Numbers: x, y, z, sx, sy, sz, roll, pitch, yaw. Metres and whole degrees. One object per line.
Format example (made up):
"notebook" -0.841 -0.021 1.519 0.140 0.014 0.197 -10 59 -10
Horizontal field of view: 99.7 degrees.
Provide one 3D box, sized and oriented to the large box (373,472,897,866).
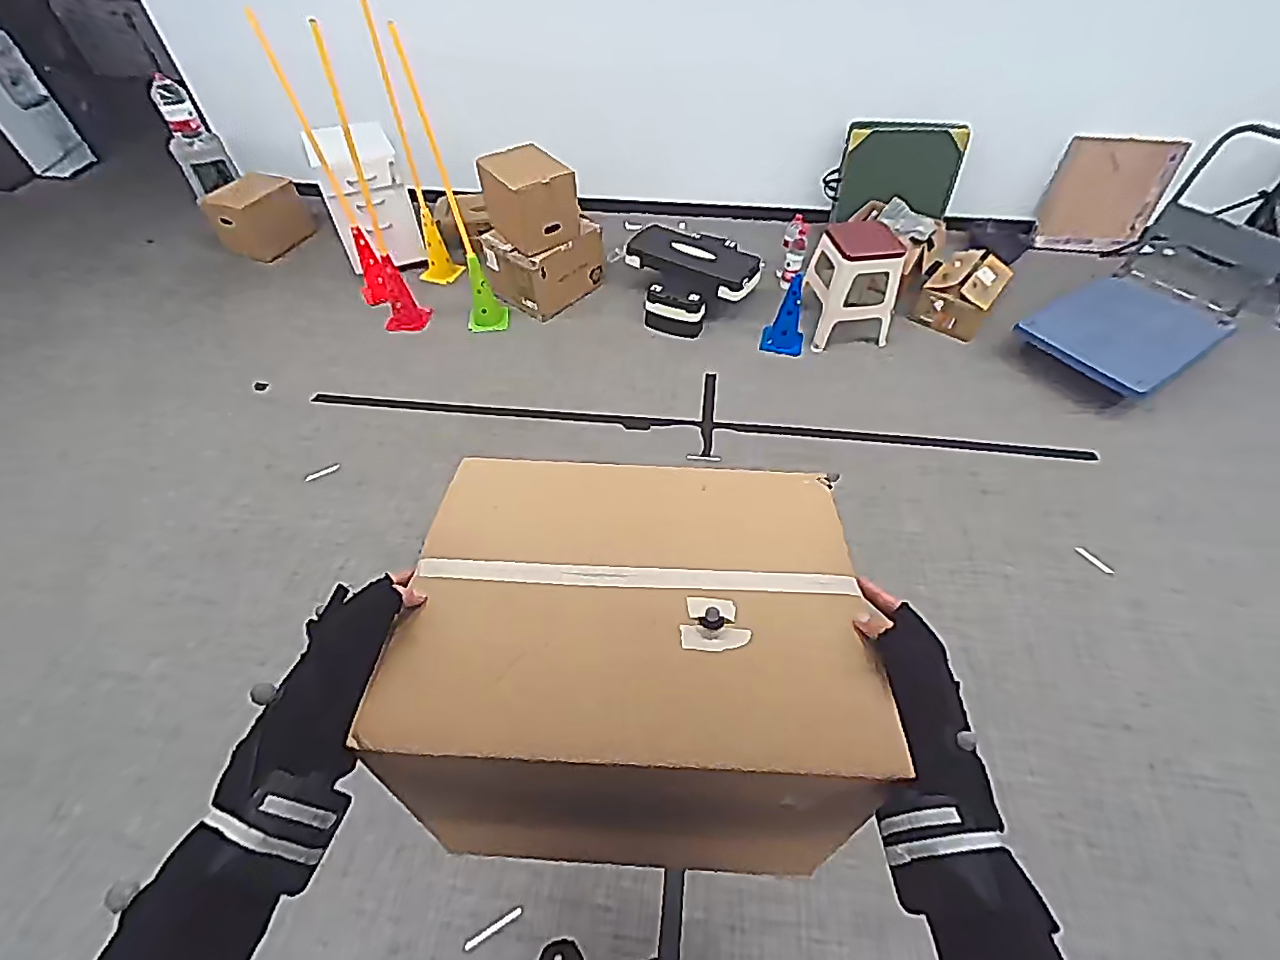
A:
"large box" -0.005 0.210 0.611 0.408 0.320 0.320 3 44 1
